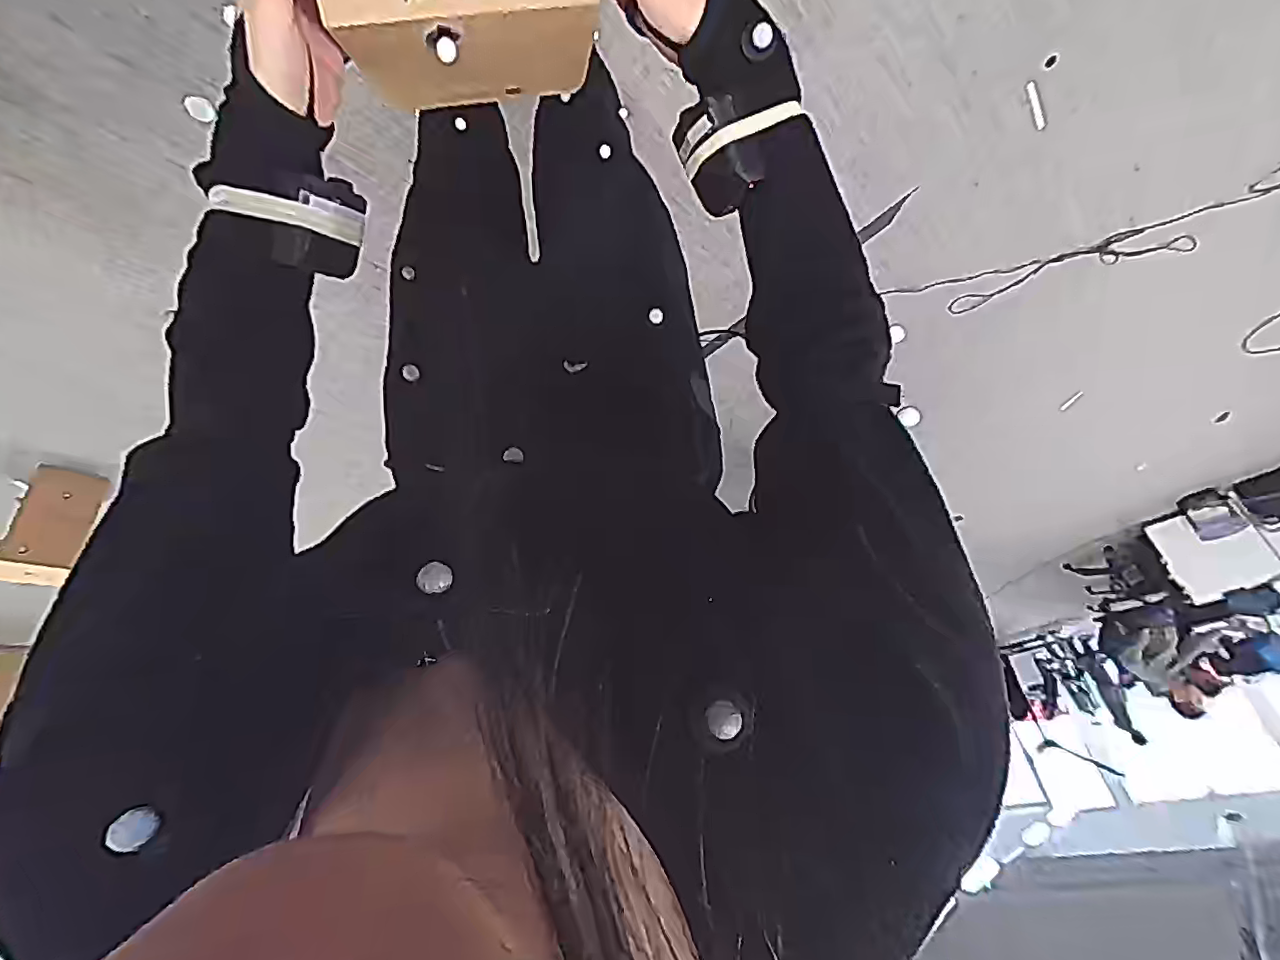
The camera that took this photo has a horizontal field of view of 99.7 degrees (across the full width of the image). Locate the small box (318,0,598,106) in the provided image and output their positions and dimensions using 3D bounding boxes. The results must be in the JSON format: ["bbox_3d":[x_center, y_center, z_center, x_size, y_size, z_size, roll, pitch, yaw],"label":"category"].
[{"bbox_3d":[-0.128,-0.386,0.370,0.168,0.176,0.179,-9,113,-7],"label":"small box"}]

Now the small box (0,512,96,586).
[{"bbox_3d":[-1.877,0.218,1.704,0.168,0.176,0.179,-29,145,31],"label":"small box"}]
